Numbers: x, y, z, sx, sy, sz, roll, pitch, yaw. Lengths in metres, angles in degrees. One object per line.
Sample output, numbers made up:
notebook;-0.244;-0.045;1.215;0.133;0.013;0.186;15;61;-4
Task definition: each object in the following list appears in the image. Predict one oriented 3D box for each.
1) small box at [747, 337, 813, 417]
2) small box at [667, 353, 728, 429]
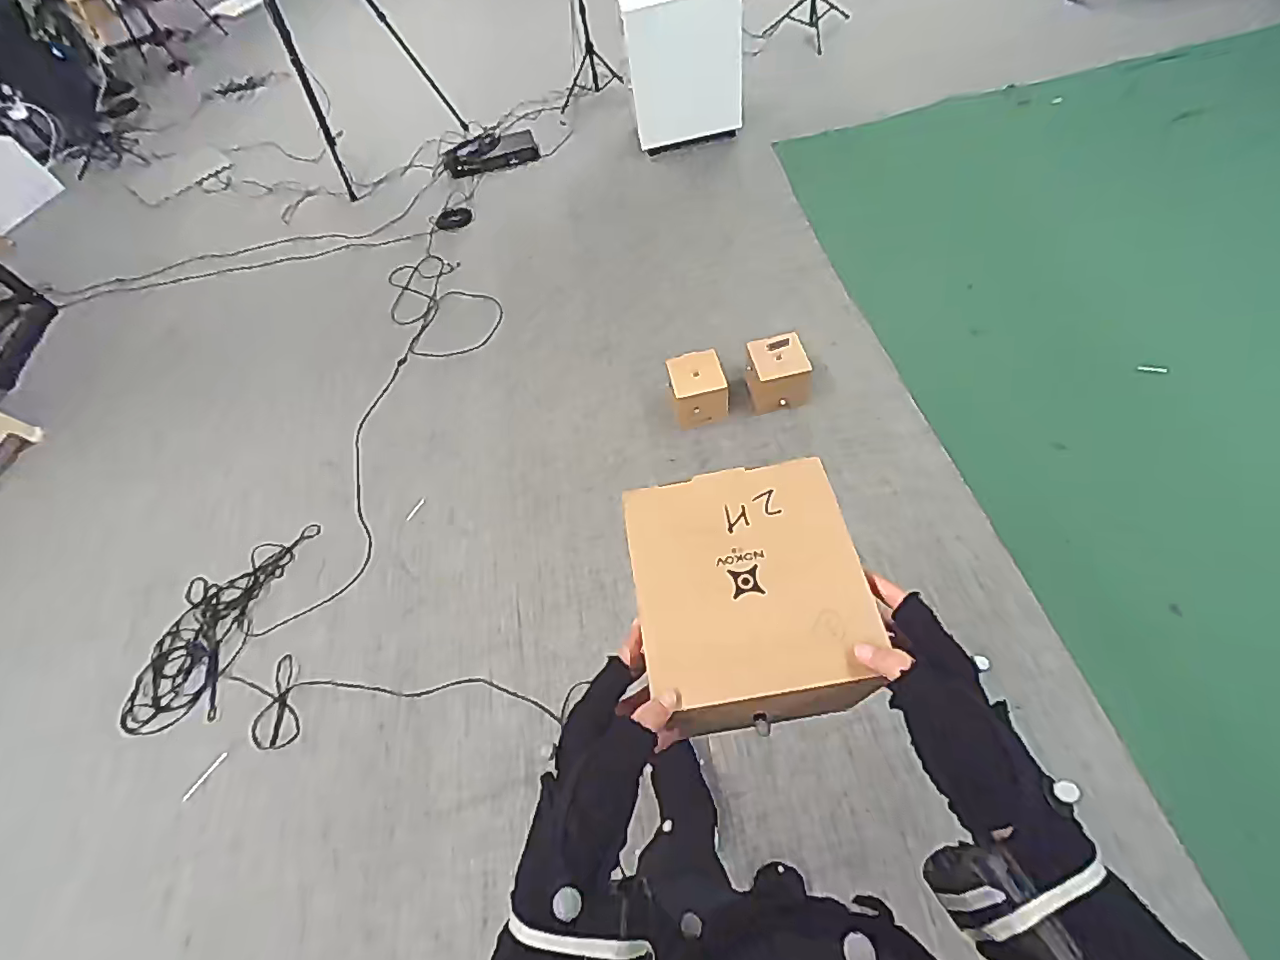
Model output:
small box;0.451;-0.336;1.774;0.168;0.176;0.179;-12;57;2
small box;0.193;-0.286;1.787;0.168;0.176;0.179;-13;56;1
